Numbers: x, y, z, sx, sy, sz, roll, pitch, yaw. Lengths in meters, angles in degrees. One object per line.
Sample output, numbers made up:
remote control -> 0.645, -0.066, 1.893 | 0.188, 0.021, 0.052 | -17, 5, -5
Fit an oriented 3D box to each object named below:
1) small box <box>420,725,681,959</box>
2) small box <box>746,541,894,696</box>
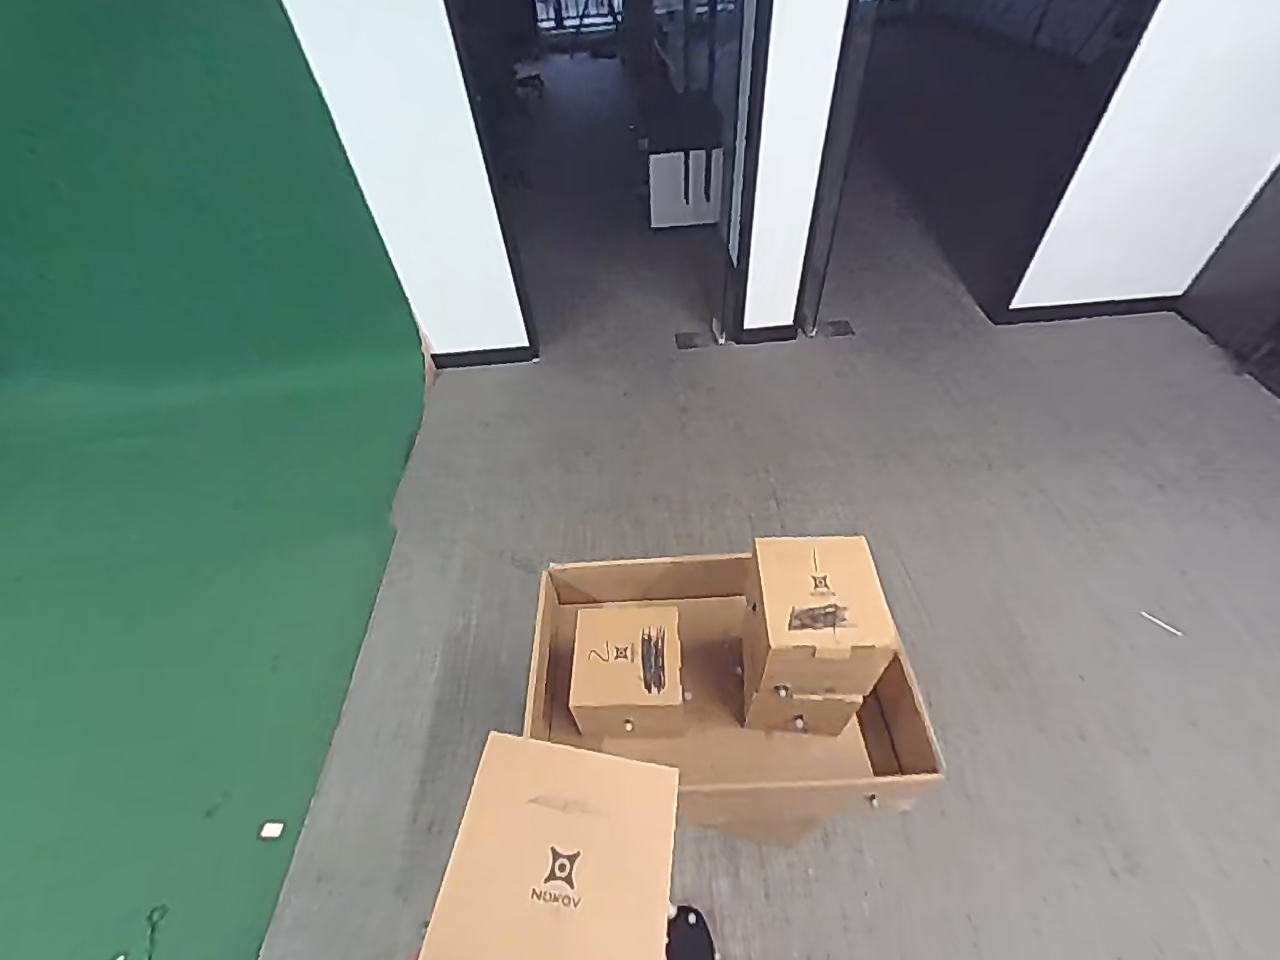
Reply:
small box -> -0.069, 0.342, 0.463 | 0.168, 0.176, 0.179 | 13, 46, -1
small box -> 0.254, 0.210, 0.810 | 0.168, 0.176, 0.179 | -1, 47, 3
